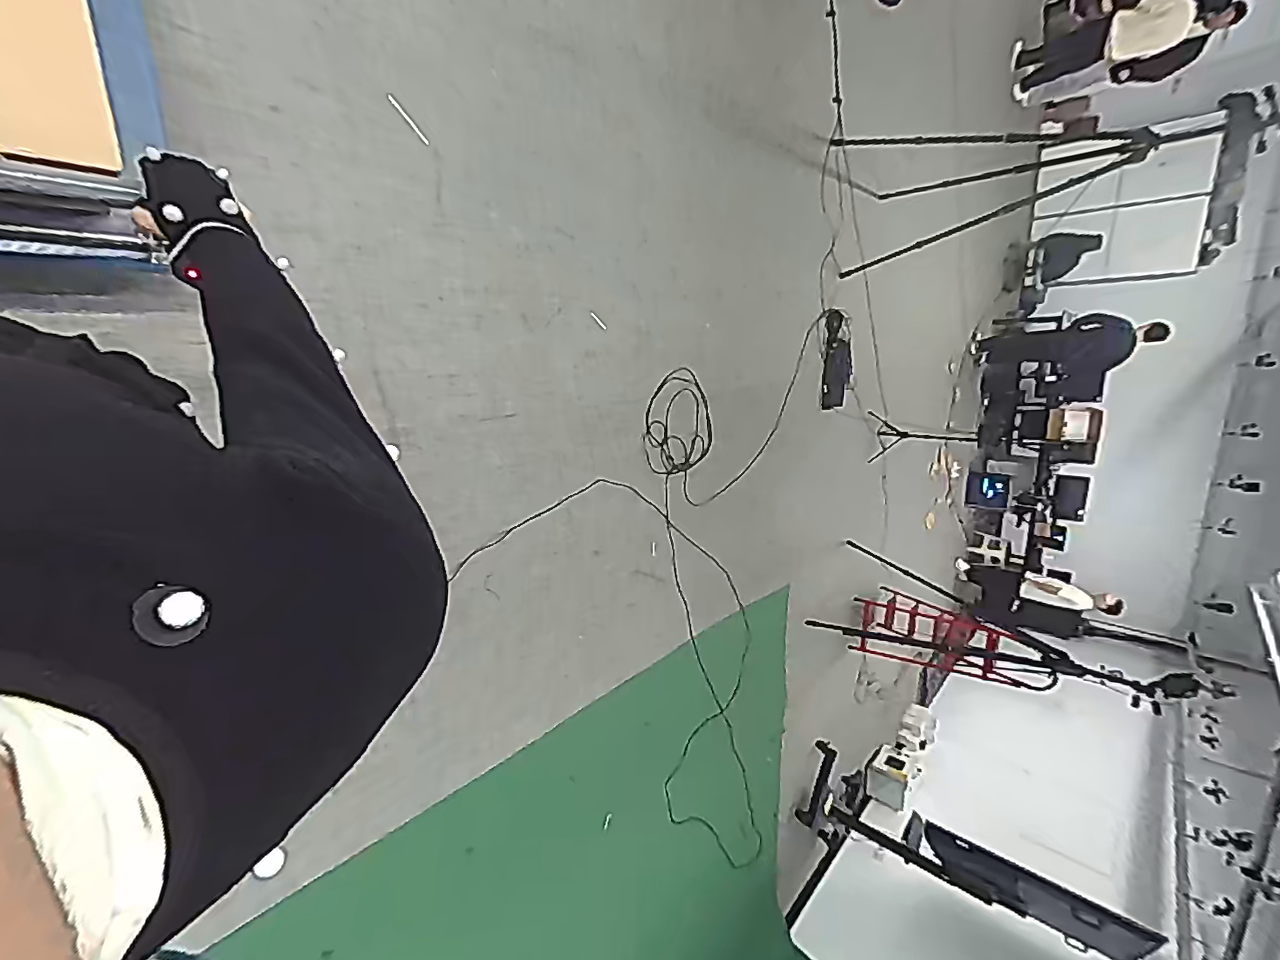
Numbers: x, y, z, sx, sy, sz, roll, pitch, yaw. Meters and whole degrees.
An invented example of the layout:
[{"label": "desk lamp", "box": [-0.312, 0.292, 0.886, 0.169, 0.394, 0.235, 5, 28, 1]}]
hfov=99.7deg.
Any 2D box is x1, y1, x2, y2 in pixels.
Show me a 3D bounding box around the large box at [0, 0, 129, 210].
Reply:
[{"label": "large box", "box": [-0.993, -0.647, 0.768, 0.320, 0.320, 0.408, -15, 108, -45]}]
